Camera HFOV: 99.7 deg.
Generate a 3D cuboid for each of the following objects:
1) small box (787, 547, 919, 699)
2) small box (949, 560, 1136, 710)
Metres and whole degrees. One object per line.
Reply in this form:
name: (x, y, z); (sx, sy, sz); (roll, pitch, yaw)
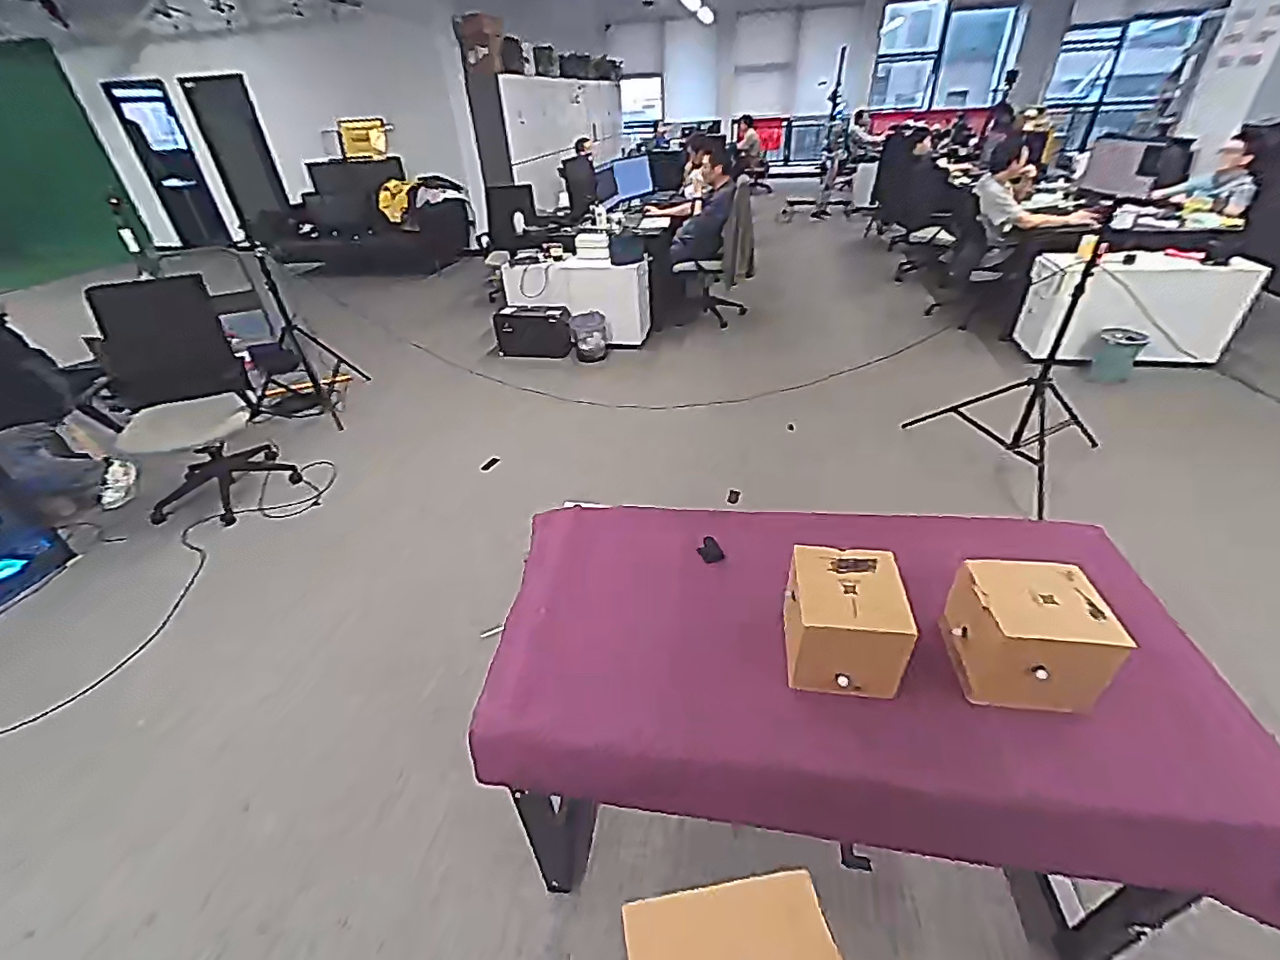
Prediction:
small box: (0.344, 0.236, 0.911); (0.168, 0.176, 0.179); (2, 35, 9)
small box: (0.622, 0.248, 0.870); (0.179, 0.176, 0.168); (1, 35, 9)
